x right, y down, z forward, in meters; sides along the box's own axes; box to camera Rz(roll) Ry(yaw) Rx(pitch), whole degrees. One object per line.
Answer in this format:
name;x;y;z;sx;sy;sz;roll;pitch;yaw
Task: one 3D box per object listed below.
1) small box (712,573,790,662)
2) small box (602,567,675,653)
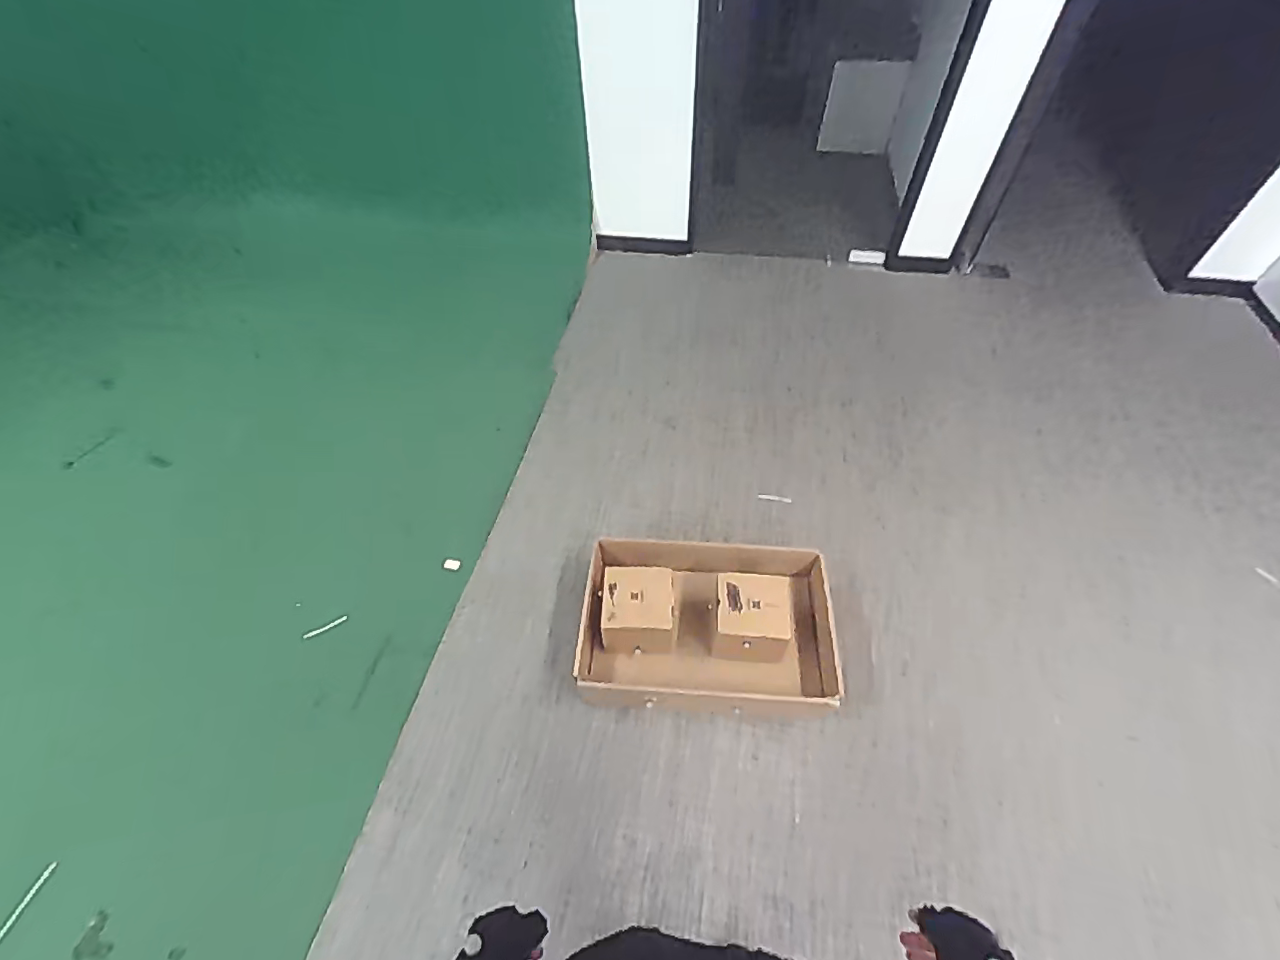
small box;0.278;0.354;1.386;0.179;0.176;0.168;3;52;5
small box;-0.003;0.341;1.404;0.179;0.176;0.168;2;51;1
